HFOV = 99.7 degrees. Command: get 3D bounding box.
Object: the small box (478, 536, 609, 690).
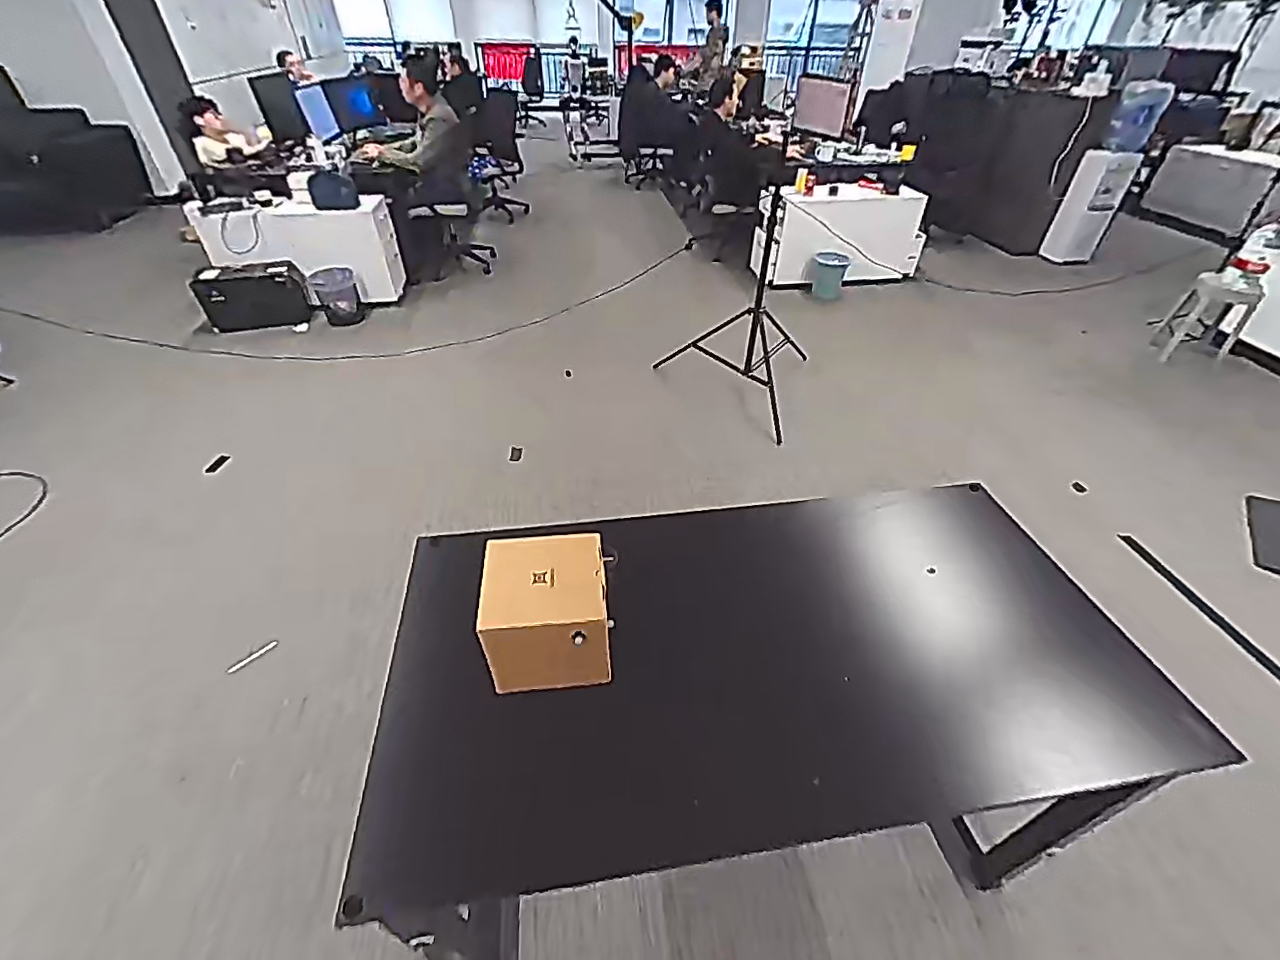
[{"bbox_3d":[-0.142,0.210,0.844,0.179,0.176,0.168,-4,41,-7],"label":"small box"}]
